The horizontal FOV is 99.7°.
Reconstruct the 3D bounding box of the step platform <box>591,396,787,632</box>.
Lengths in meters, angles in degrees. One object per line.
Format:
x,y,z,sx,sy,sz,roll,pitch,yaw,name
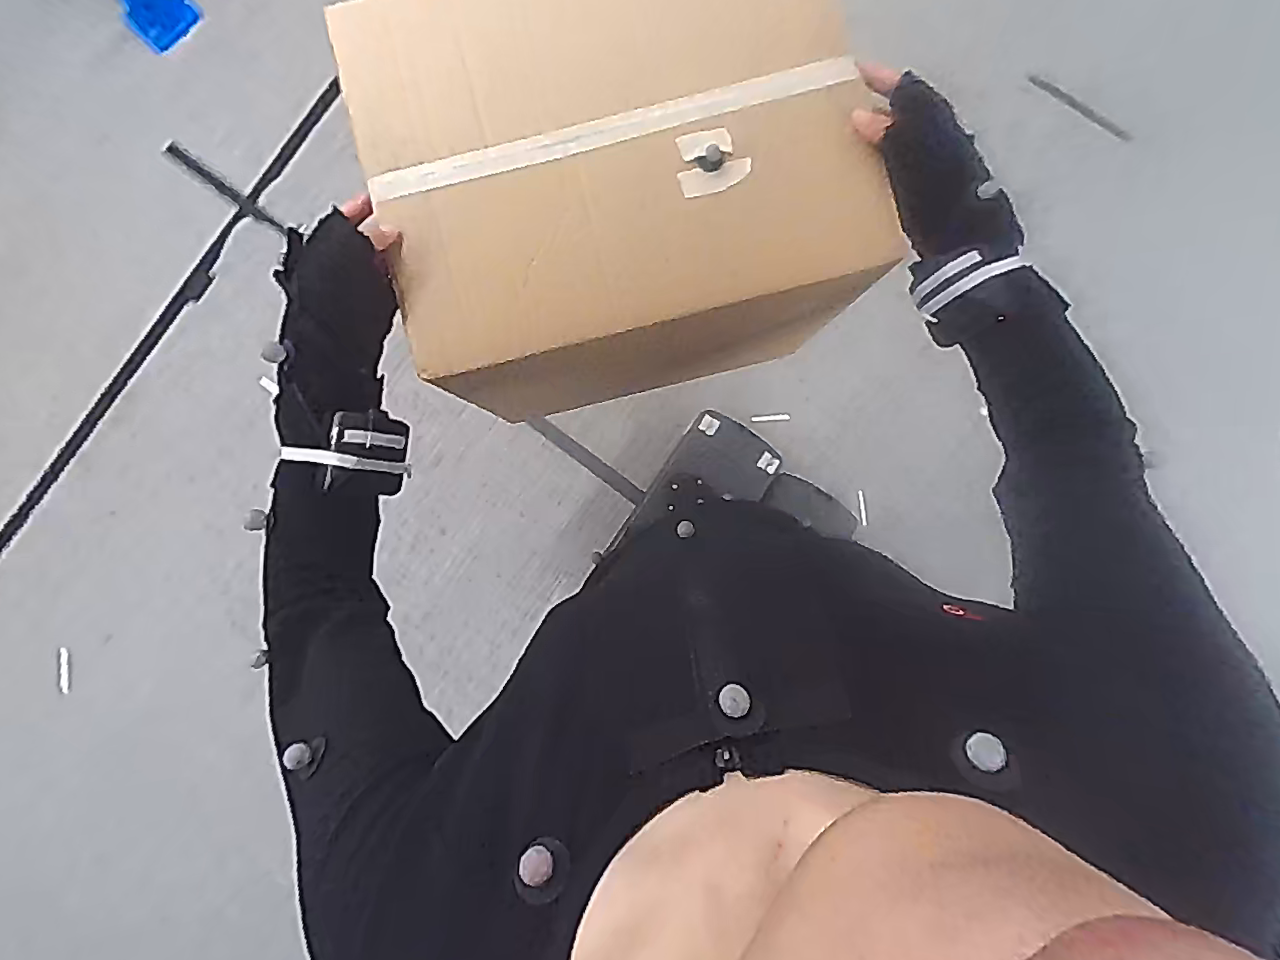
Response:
0.140,0.096,1.590,0.286,0.204,0.684,33,87,2,step platform

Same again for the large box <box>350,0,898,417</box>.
-0.016,-0.283,0.596,0.408,0.320,0.320,-14,90,-1,large box
